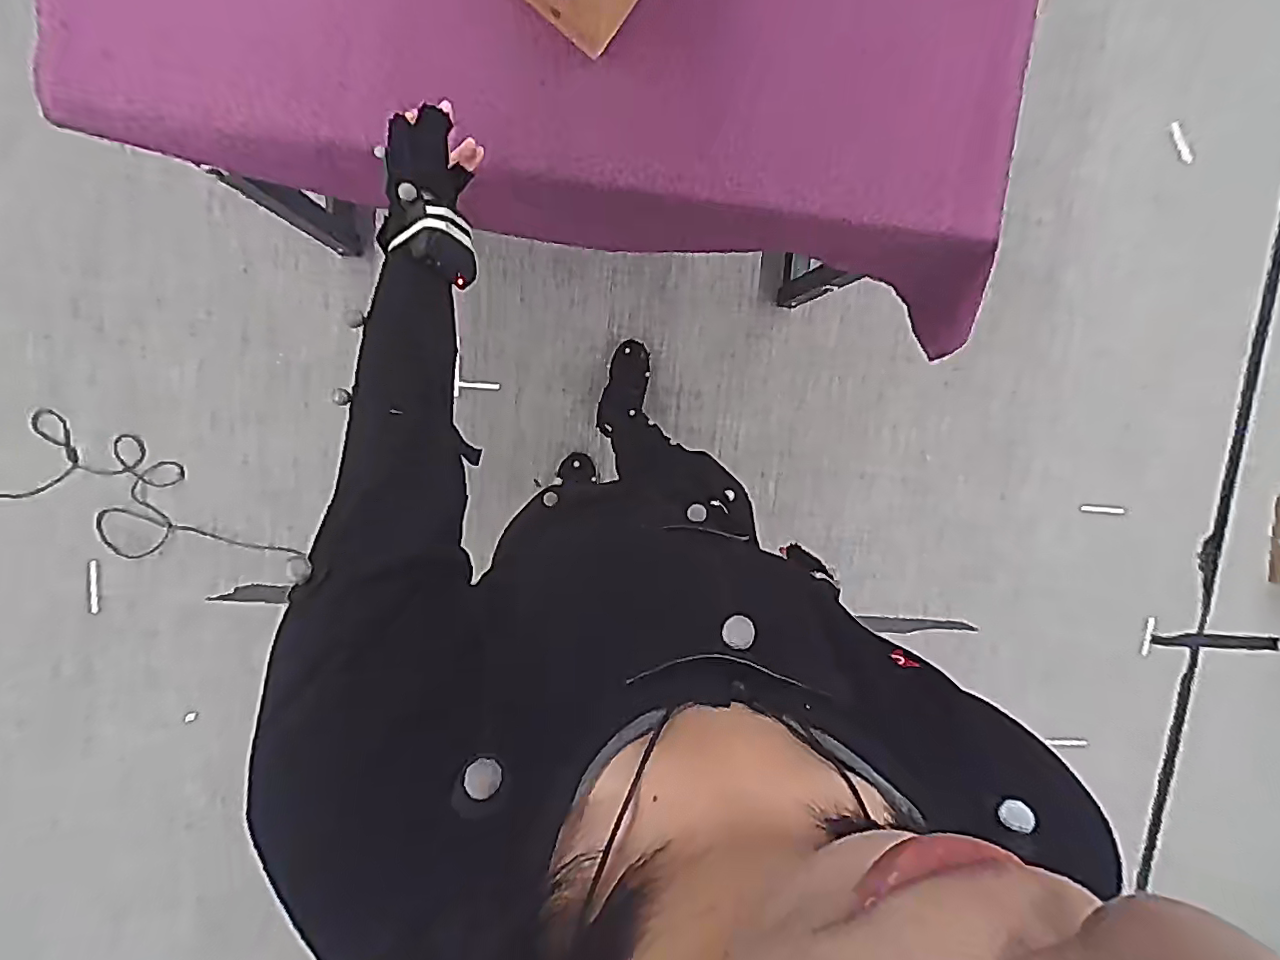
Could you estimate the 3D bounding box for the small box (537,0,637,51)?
[{"bbox_3d":[-0.060,-0.638,0.592,0.168,0.176,0.179,35,92,-11],"label":"small box"}]
